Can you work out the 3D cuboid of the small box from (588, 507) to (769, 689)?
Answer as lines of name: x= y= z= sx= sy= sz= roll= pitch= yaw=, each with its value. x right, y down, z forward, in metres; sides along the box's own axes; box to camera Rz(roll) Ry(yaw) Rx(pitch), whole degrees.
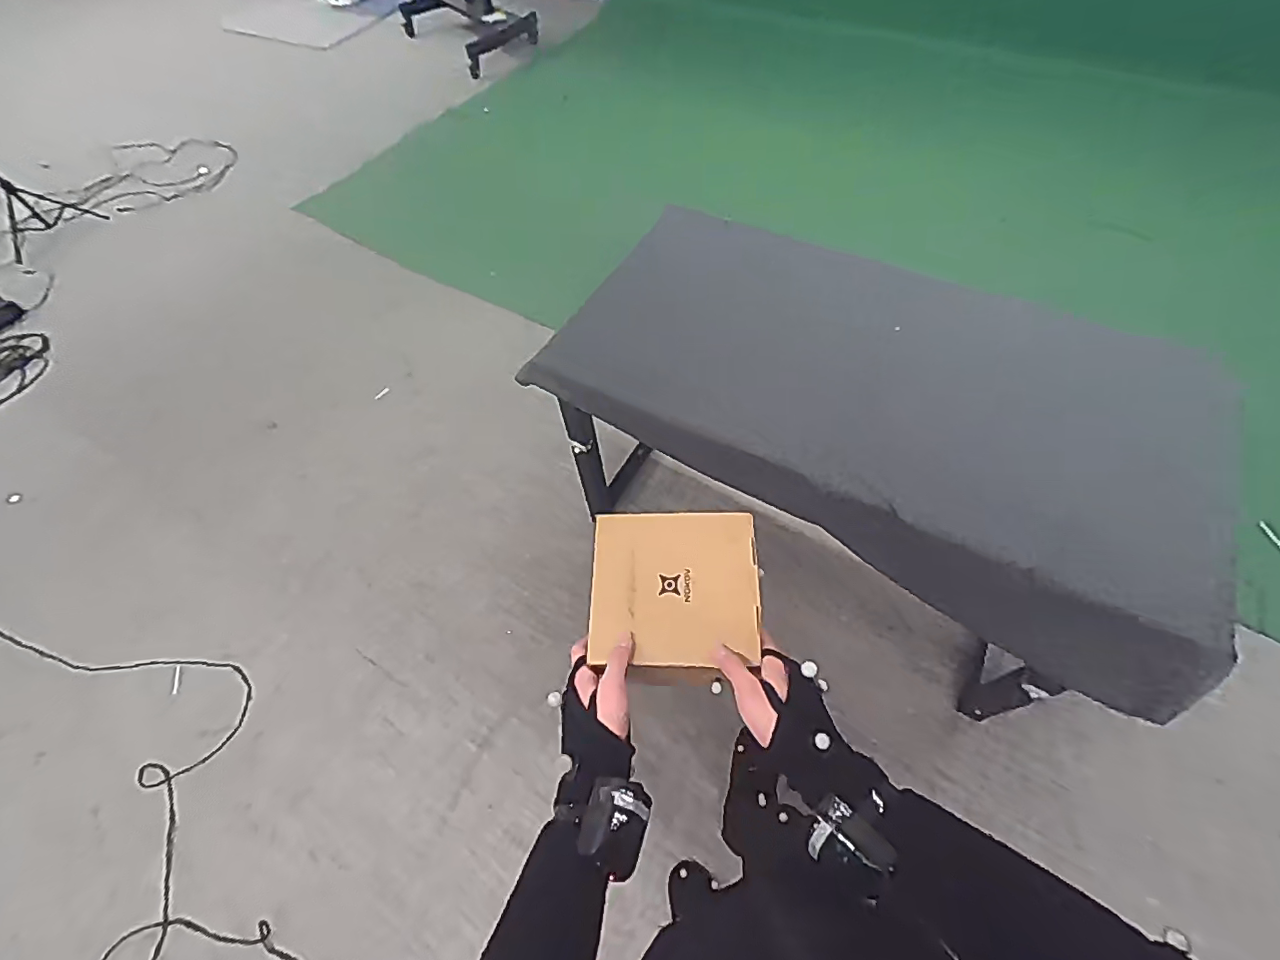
small box: x=0.046 y=0.141 z=0.624 sx=0.179 sy=0.176 sz=0.168 roll=-1 pitch=60 yaw=6
